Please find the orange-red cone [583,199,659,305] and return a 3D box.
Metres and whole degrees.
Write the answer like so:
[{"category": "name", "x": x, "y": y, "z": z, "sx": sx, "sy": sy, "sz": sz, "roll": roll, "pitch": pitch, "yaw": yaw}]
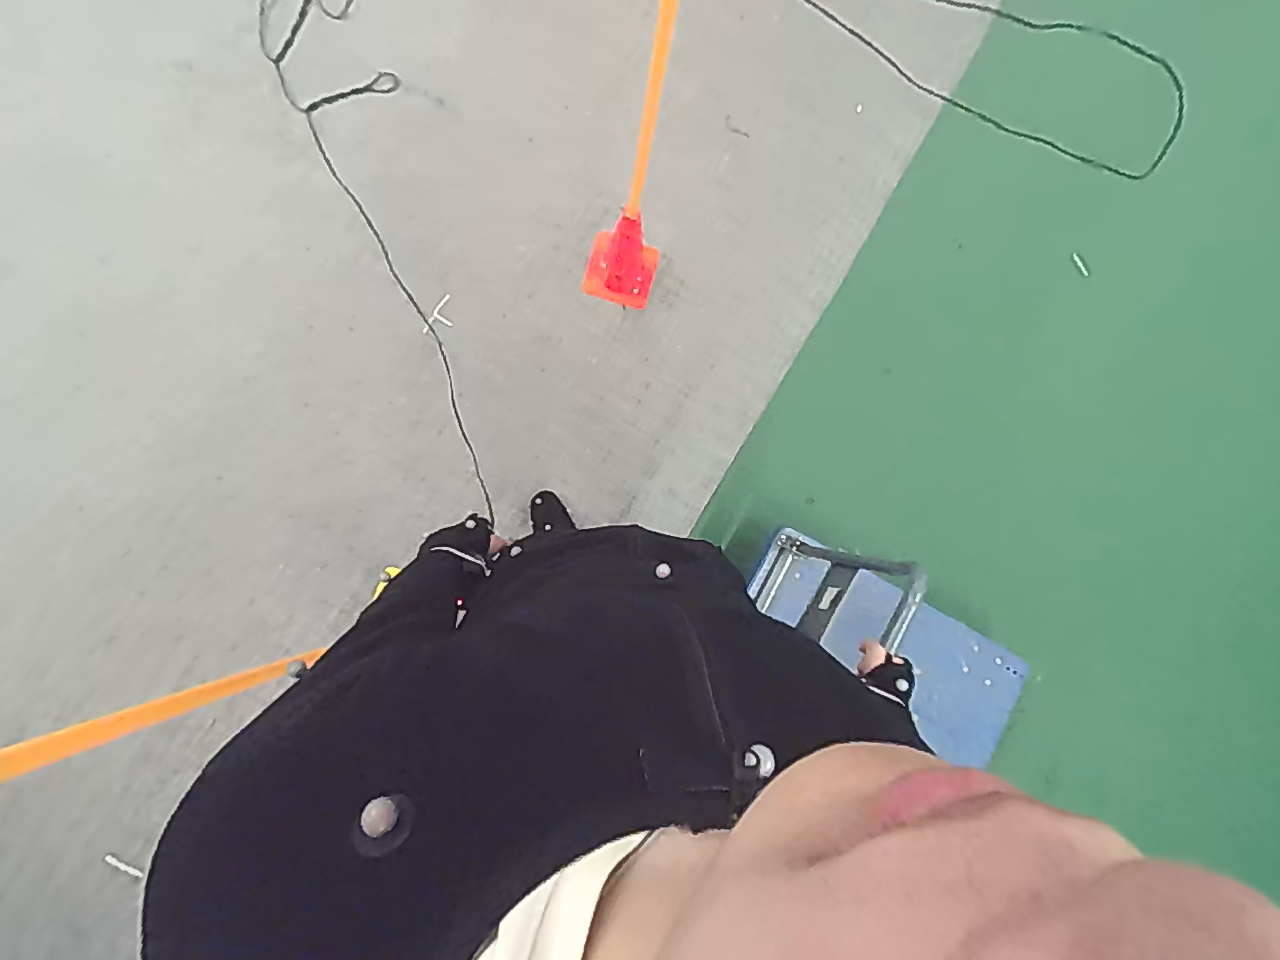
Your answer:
[{"category": "orange-red cone", "x": -0.036, "y": -0.653, "z": 1.469, "sx": 0.198, "sy": 0.360, "sz": 0.199, "roll": 17, "pitch": 86, "yaw": -6}]
